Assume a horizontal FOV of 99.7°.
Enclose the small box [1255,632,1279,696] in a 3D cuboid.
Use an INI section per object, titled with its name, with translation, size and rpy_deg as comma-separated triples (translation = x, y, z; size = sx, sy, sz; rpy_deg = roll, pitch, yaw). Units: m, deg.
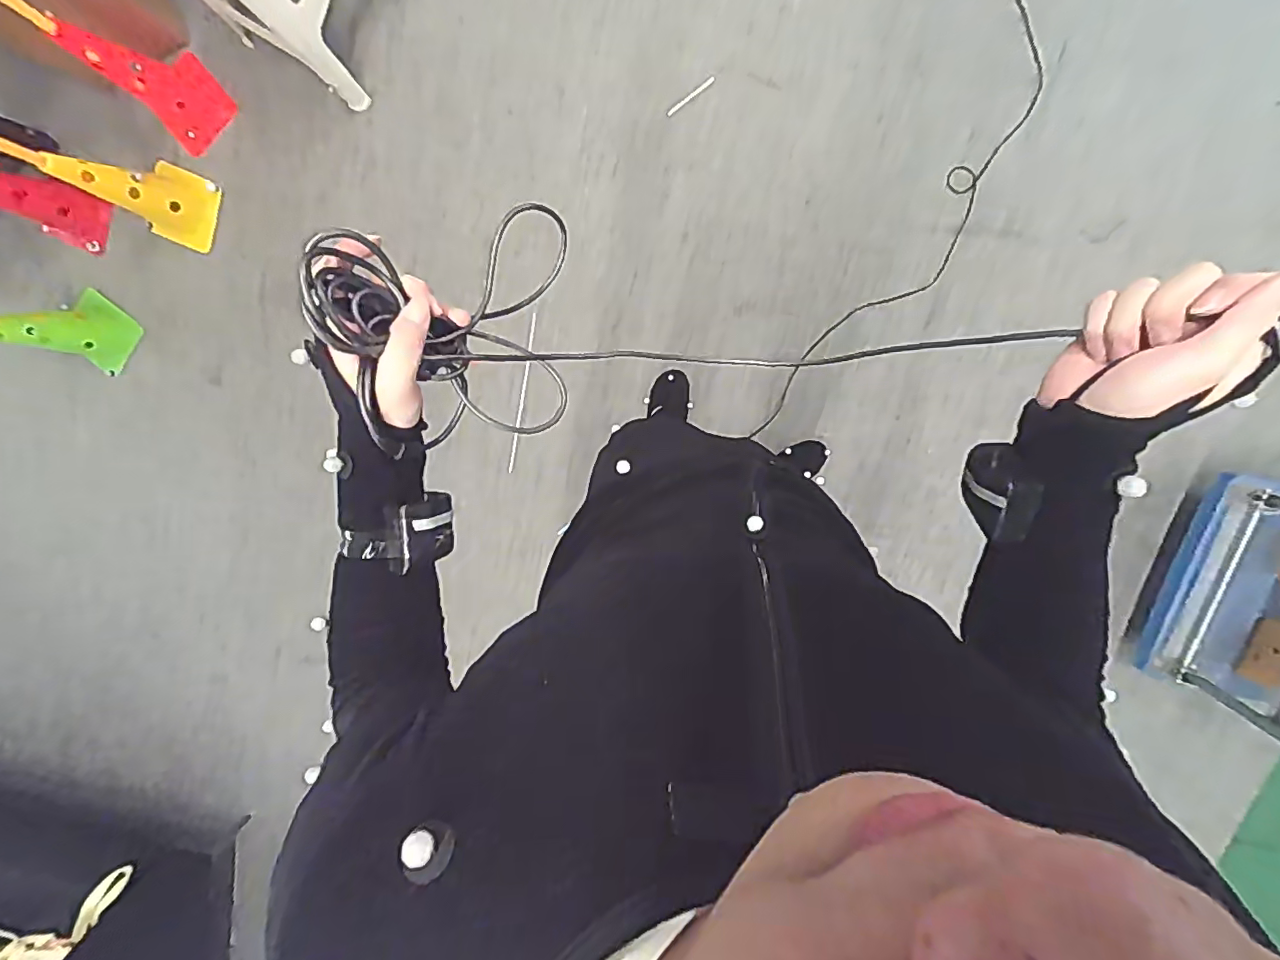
[small box]
translation = 1.688, 0.484, 1.307
size = 0.179, 0.176, 0.168
rpy_deg = 13, 102, 3
